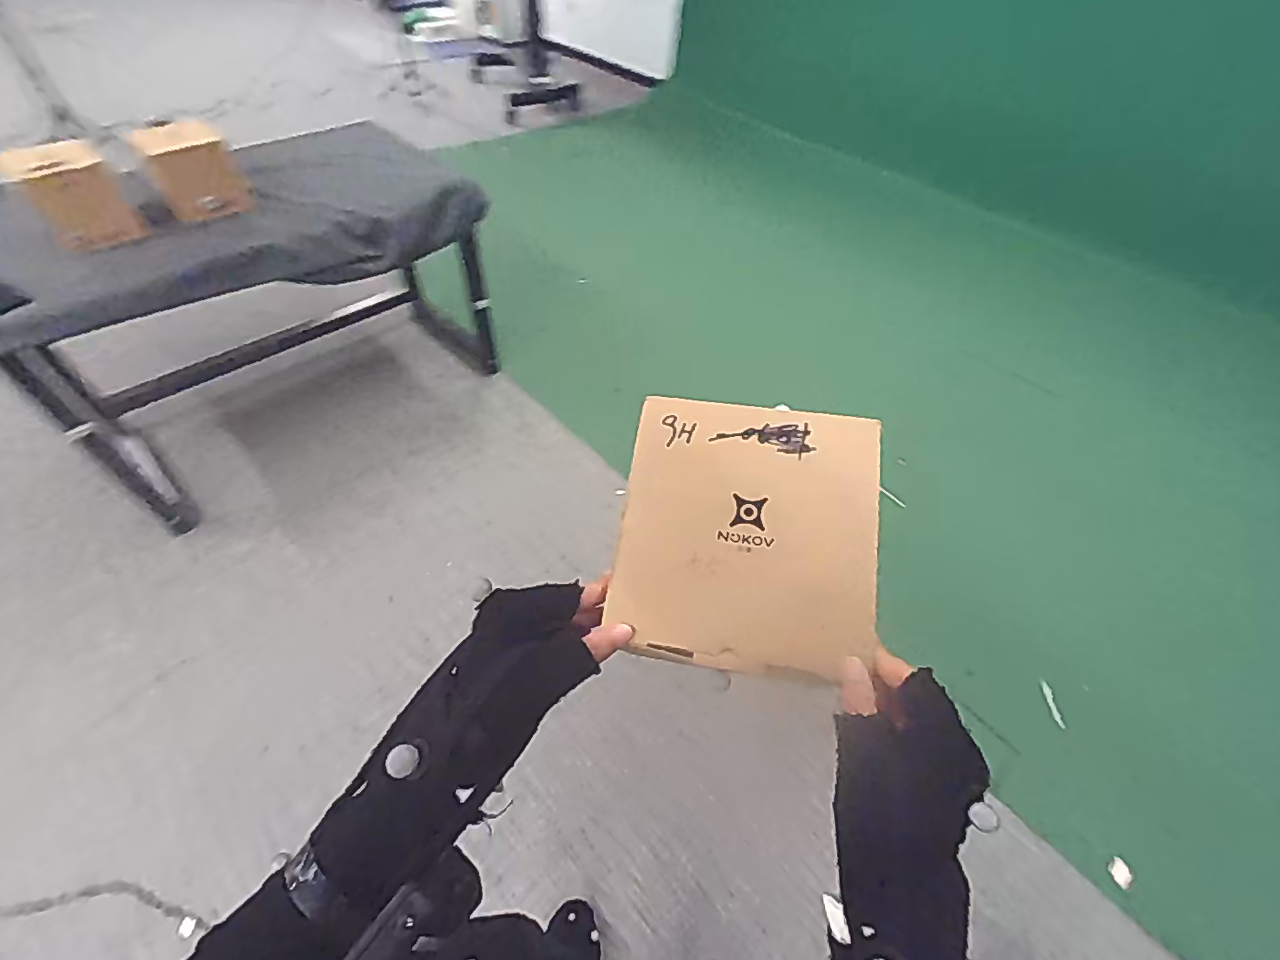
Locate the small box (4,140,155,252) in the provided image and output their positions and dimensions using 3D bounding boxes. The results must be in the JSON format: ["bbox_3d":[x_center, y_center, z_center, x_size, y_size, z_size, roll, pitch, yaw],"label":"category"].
[{"bbox_3d":[-1.287,-0.653,1.254,0.179,0.176,0.168,38,57,25],"label":"small box"}]

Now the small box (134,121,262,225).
[{"bbox_3d":[-1.117,-0.780,1.378,0.179,0.176,0.168,38,58,22],"label":"small box"}]

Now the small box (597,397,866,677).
[{"bbox_3d":[0.072,0.054,0.439,0.168,0.176,0.179,7,71,8],"label":"small box"}]
